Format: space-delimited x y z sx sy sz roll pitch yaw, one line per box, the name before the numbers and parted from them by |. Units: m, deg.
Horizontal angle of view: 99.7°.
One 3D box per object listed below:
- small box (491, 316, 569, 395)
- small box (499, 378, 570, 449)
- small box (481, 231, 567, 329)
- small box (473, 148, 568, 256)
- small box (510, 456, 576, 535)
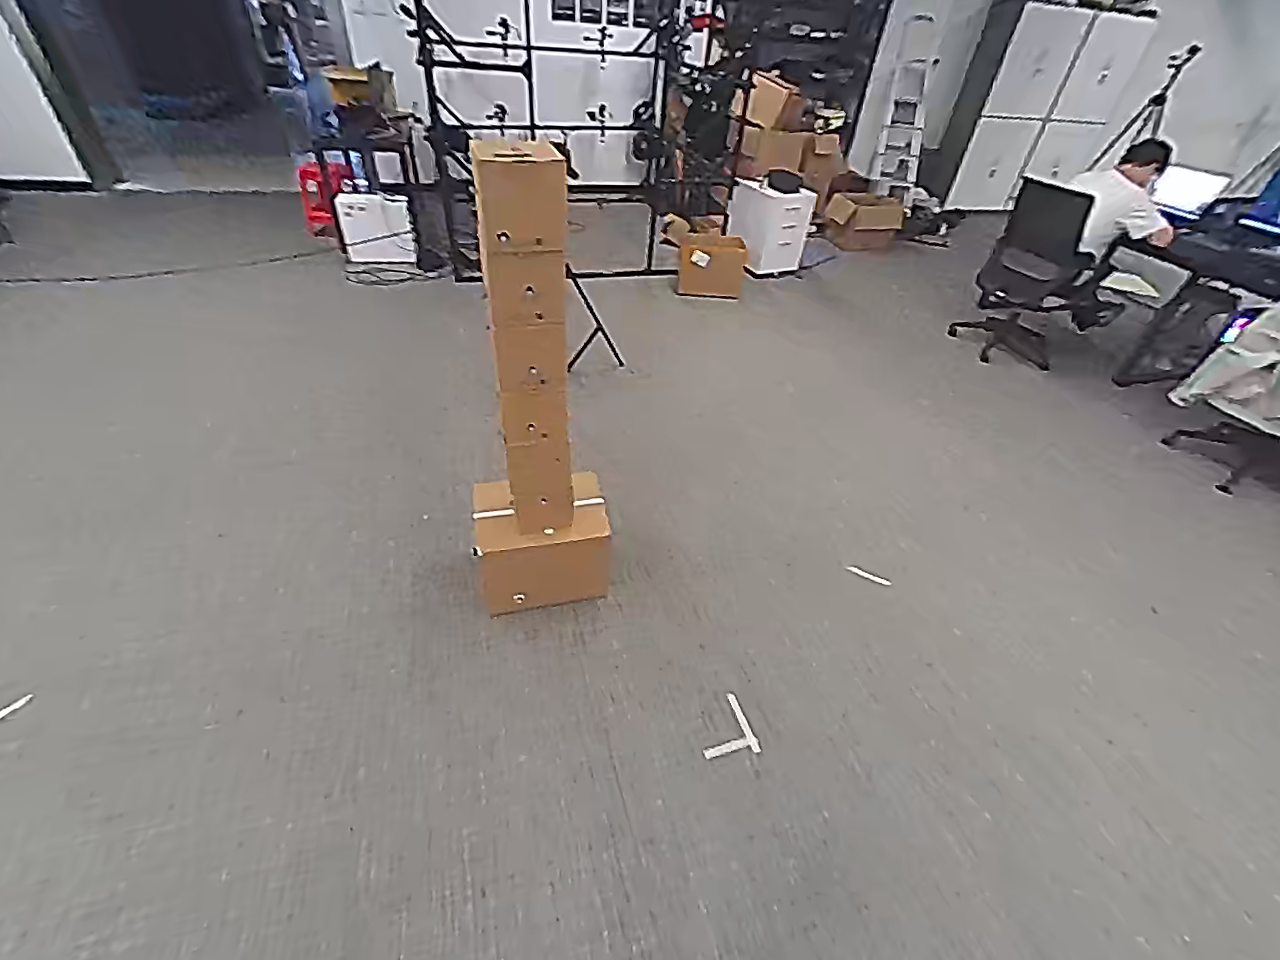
small box | -0.274 -0.330 1.338 0.168 0.176 0.179 -9 44 -15
small box | -0.284 -0.203 1.443 0.168 0.176 0.179 -8 43 -15
small box | -0.263 -0.456 1.235 0.168 0.176 0.179 -9 44 -16
small box | -0.245 -0.574 1.120 0.168 0.176 0.179 -9 43 -16
small box | -0.295 0.049 1.650 0.179 0.176 0.168 -8 43 -16
